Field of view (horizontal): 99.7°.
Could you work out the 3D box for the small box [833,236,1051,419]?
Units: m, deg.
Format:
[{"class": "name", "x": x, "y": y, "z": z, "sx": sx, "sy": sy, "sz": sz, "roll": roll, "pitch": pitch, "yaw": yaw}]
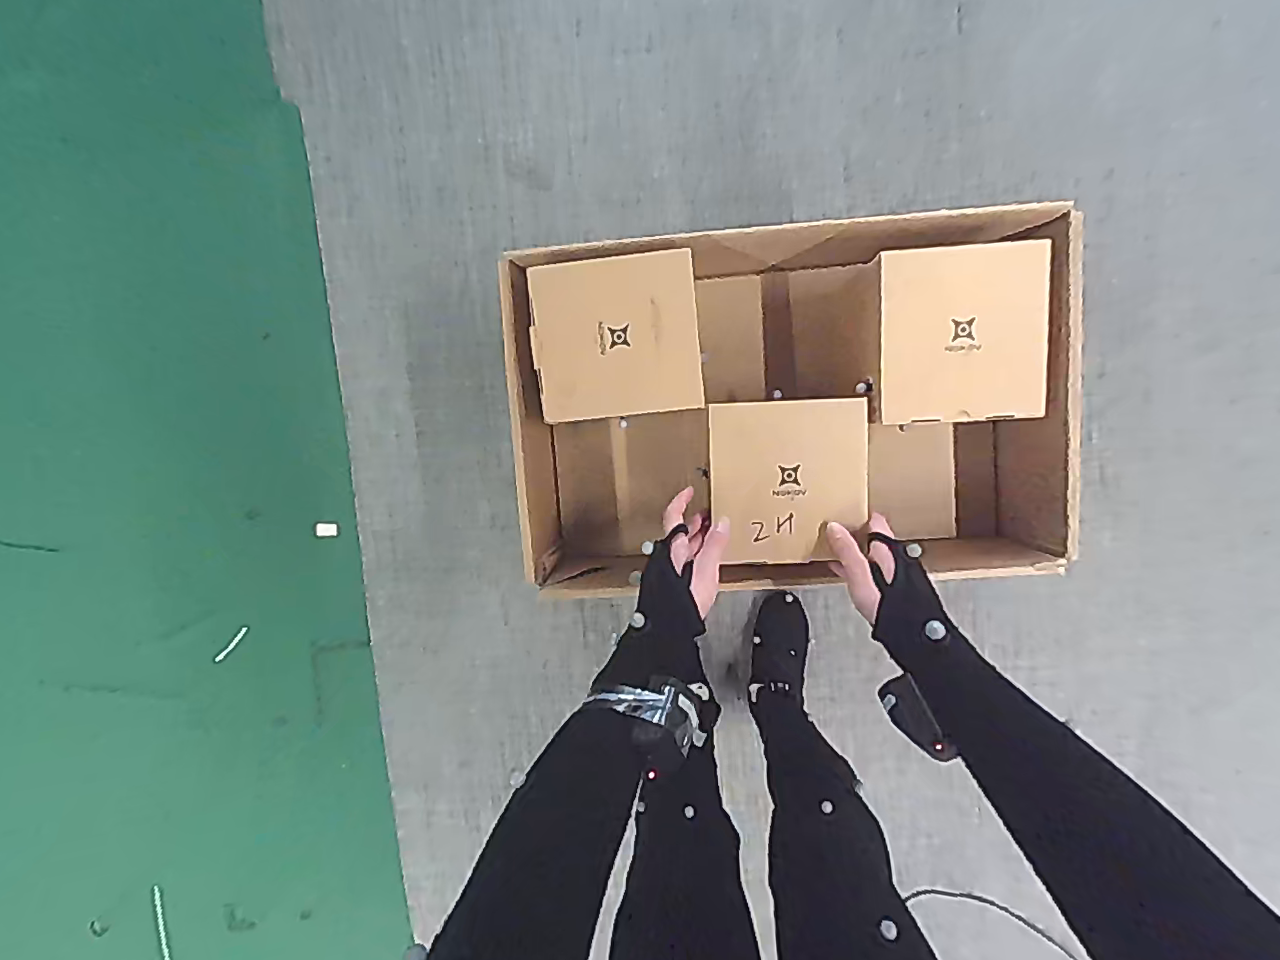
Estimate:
[{"class": "small box", "x": 0.329, "y": -0.161, "z": 0.624, "sx": 0.168, "sy": 0.176, "sz": 0.179, "roll": -2, "pitch": 97, "yaw": 4}]
